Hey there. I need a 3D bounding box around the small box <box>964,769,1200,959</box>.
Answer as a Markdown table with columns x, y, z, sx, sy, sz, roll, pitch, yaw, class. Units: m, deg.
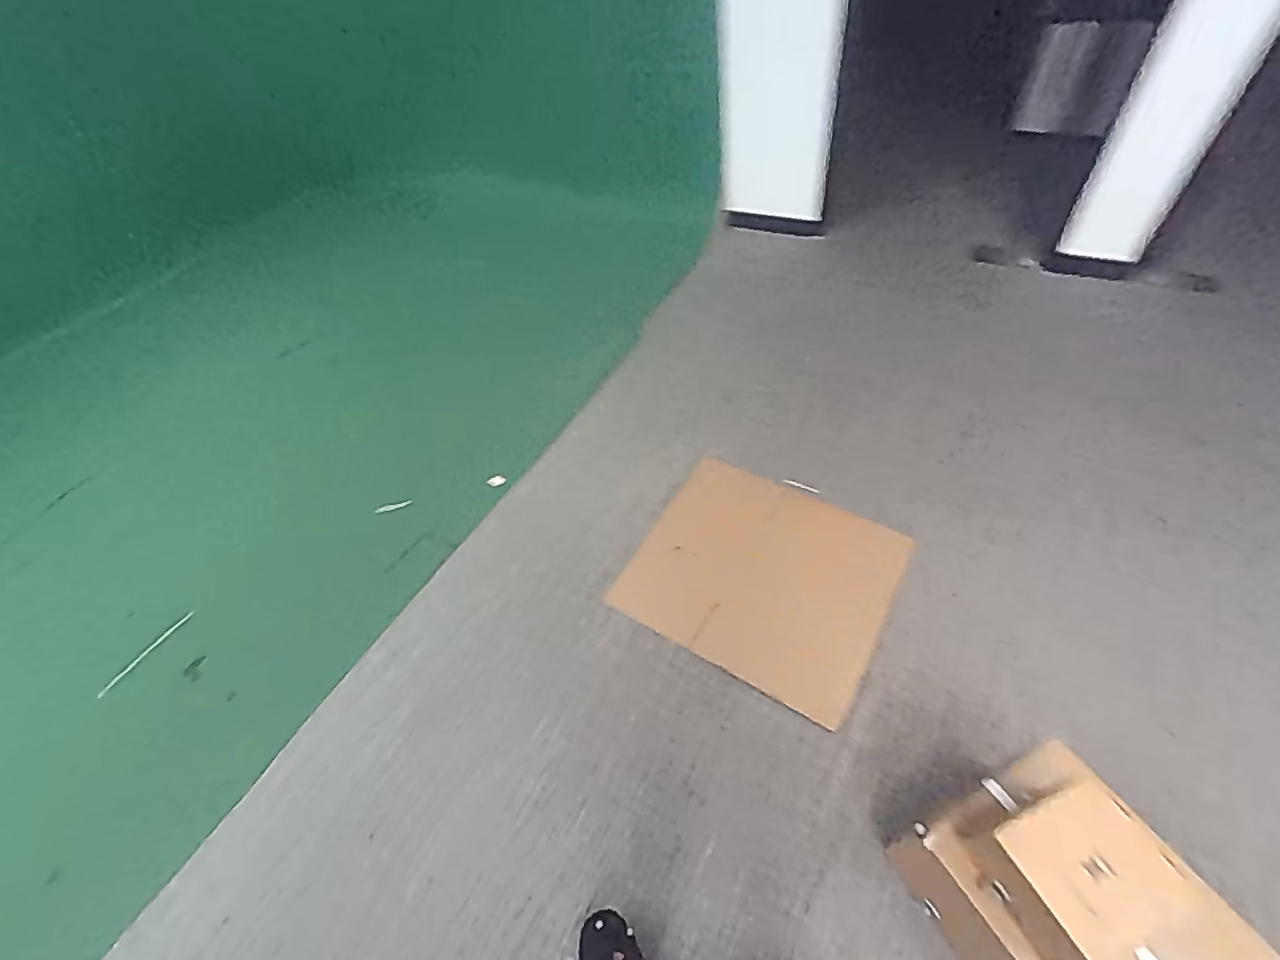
| x | y | z | sx | sy | sz | roll | pitch | yaw | class |
| --- | --- | --- | --- | --- | --- | --- | --- | --- | --- |
| 0.614 | 0.552 | 0.782 | 0.179 | 0.176 | 0.168 | -26 | 51 | -7 | small box |
